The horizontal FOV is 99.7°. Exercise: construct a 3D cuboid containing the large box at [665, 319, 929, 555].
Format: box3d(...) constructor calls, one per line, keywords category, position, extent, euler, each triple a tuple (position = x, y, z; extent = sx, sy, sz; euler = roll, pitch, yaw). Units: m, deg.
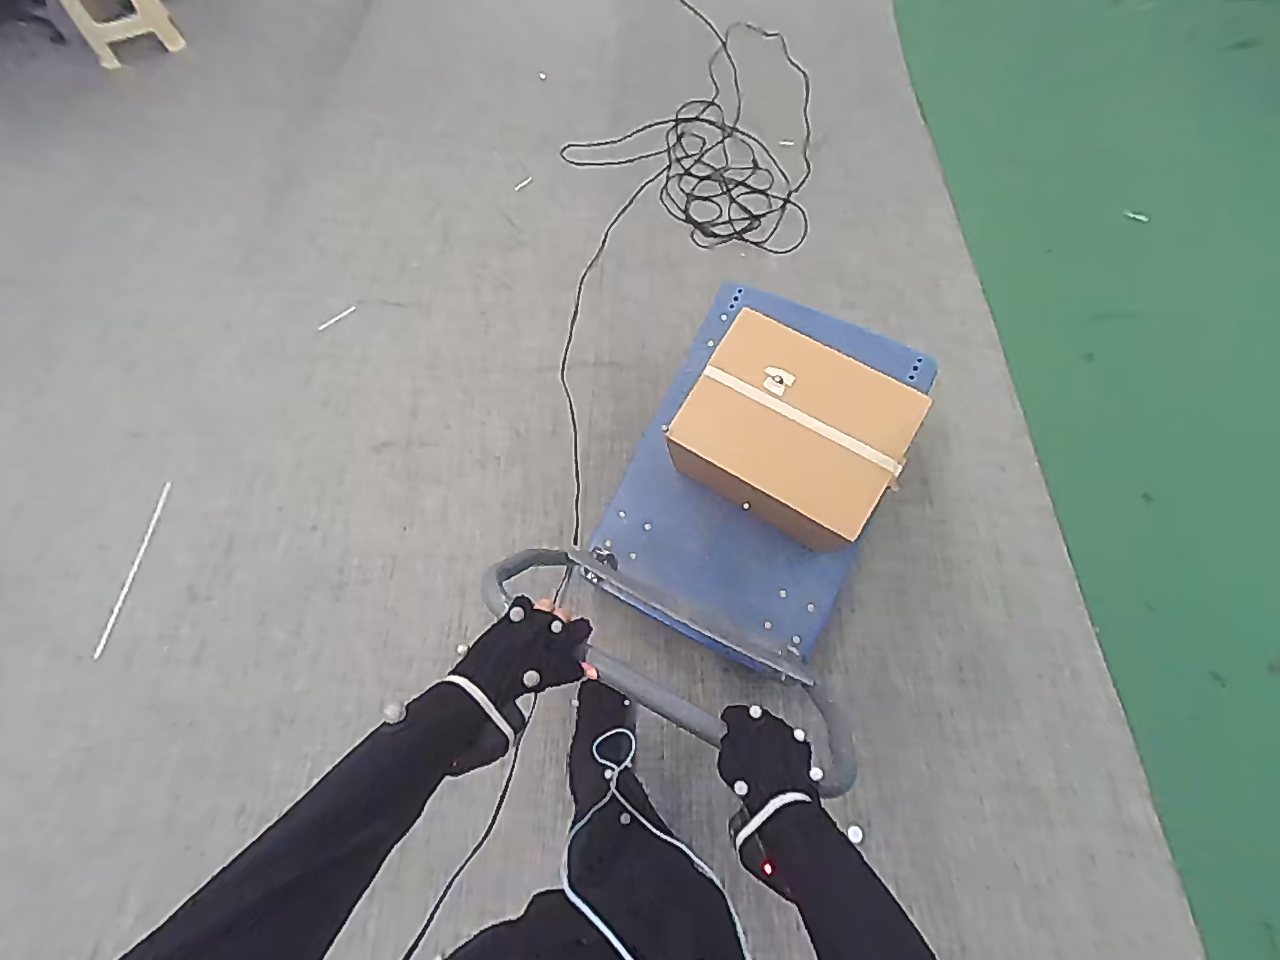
box3d(category="large box", position=(0.316, -0.073, 1.172), extent=(0.408, 0.320, 0.320), euler=(31, 84, 13))
